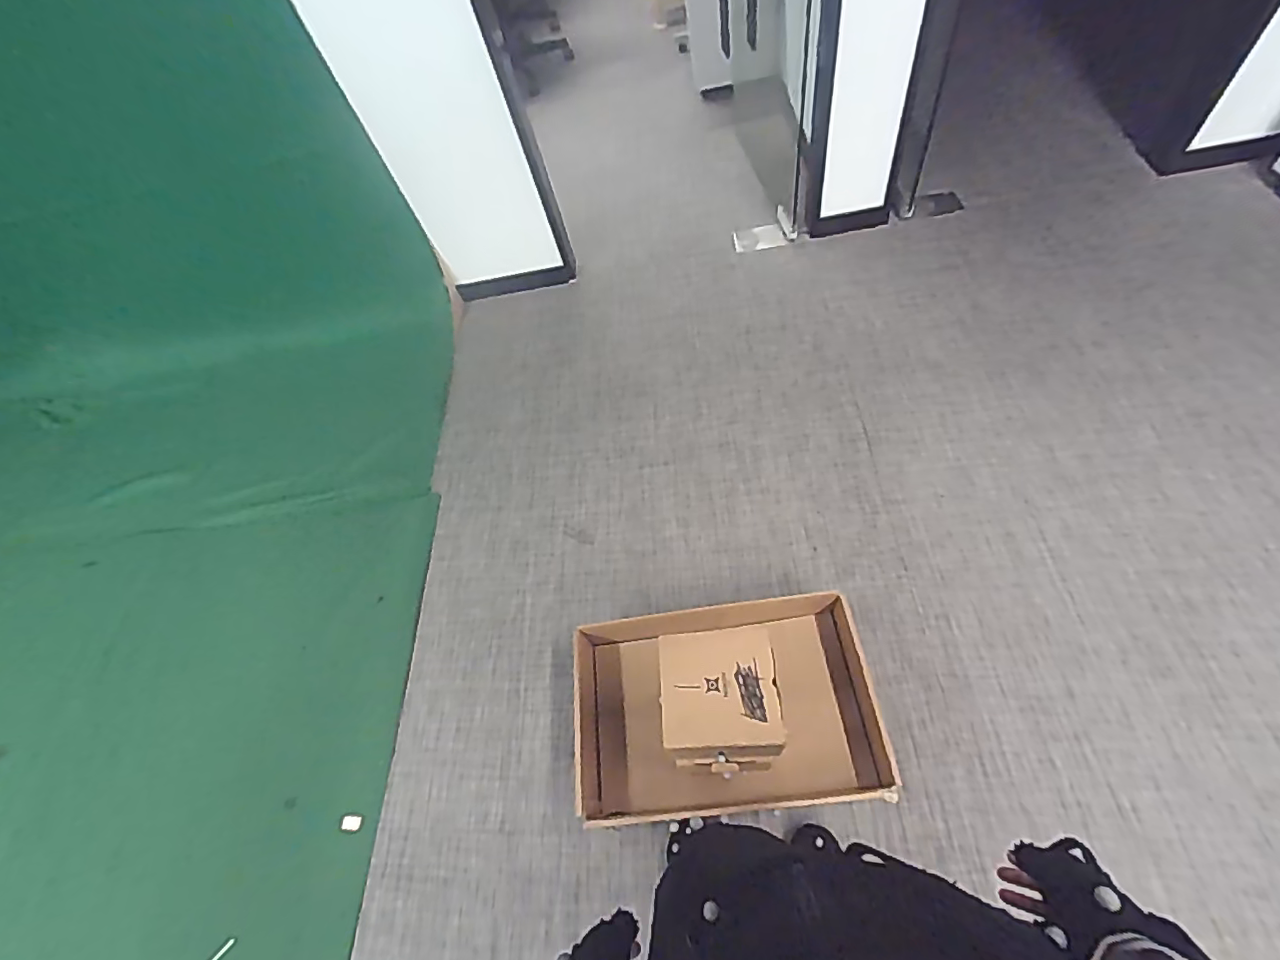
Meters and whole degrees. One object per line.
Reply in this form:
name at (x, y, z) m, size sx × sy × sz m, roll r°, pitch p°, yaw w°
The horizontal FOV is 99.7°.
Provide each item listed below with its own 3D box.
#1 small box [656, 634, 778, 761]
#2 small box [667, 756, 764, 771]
small box at (0.123, 0.360, 0.887) m, size 0.179 × 0.176 × 0.168 m, roll -6°, pitch 56°, yaw 8°
small box at (0.138, 0.442, 1.009) m, size 0.168 × 0.176 × 0.179 m, roll -5°, pitch 58°, yaw 7°
